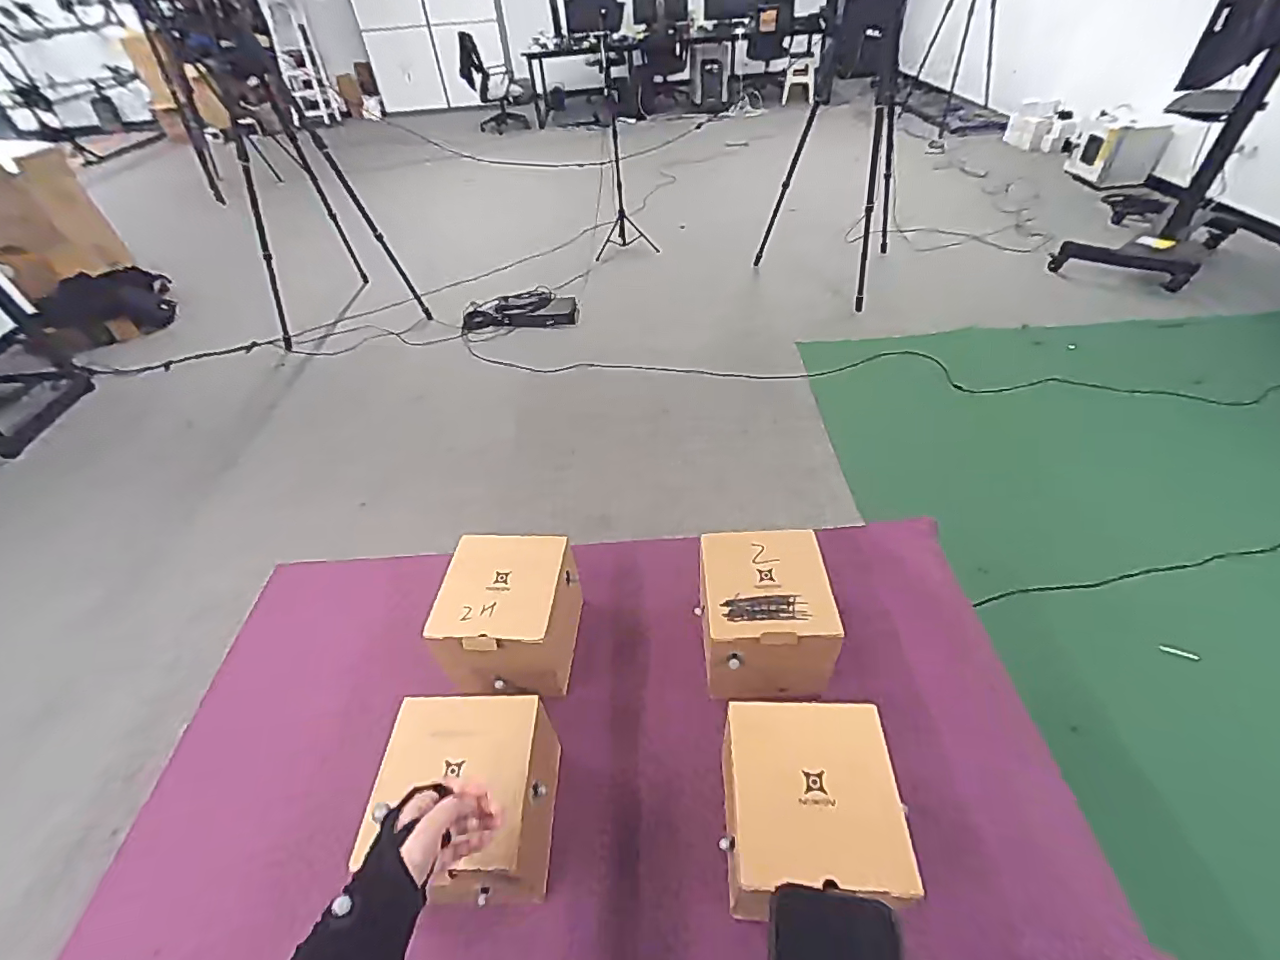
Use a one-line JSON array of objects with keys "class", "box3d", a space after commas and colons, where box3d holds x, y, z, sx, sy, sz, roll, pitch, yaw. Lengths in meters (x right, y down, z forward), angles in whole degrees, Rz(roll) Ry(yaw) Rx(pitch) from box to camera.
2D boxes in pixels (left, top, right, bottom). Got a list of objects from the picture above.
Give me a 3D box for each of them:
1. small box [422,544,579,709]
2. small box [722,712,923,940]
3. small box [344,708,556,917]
[{"class": "small box", "box3d": [-0.192, 0.216, 0.809, 0.168, 0.176, 0.179, 0, 44, 7]}, {"class": "small box", "box3d": [0.180, 0.381, 0.600, 0.168, 0.176, 0.179, -1, 44, 5]}, {"class": "small box", "box3d": [-0.199, 0.388, 0.631, 0.168, 0.176, 0.179, -2, 43, 3]}]
